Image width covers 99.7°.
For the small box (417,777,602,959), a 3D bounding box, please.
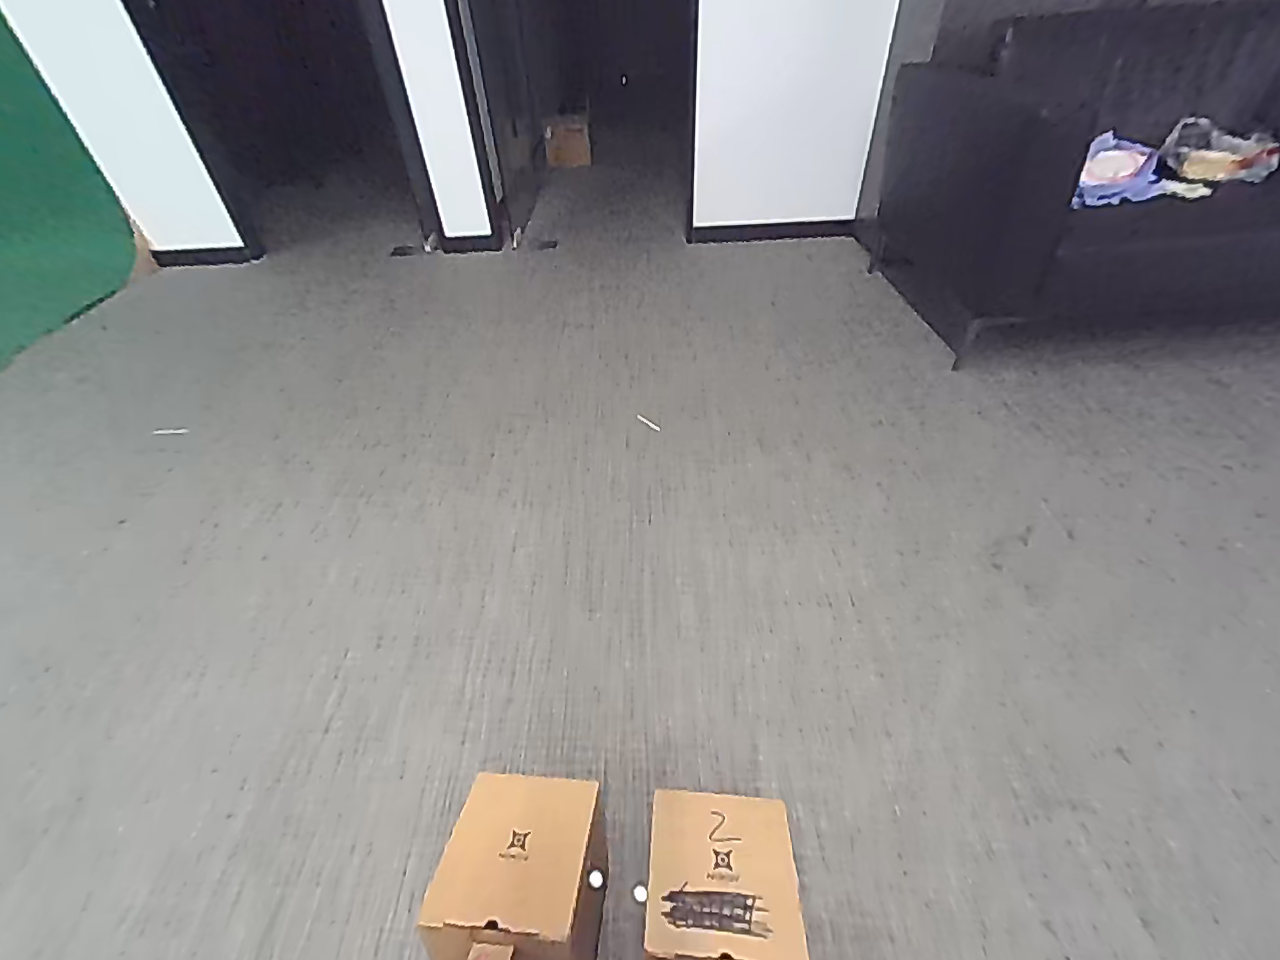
[{"bbox_3d":[-0.142,0.506,0.664,0.168,0.176,0.179,1,25,8],"label":"small box"}]
